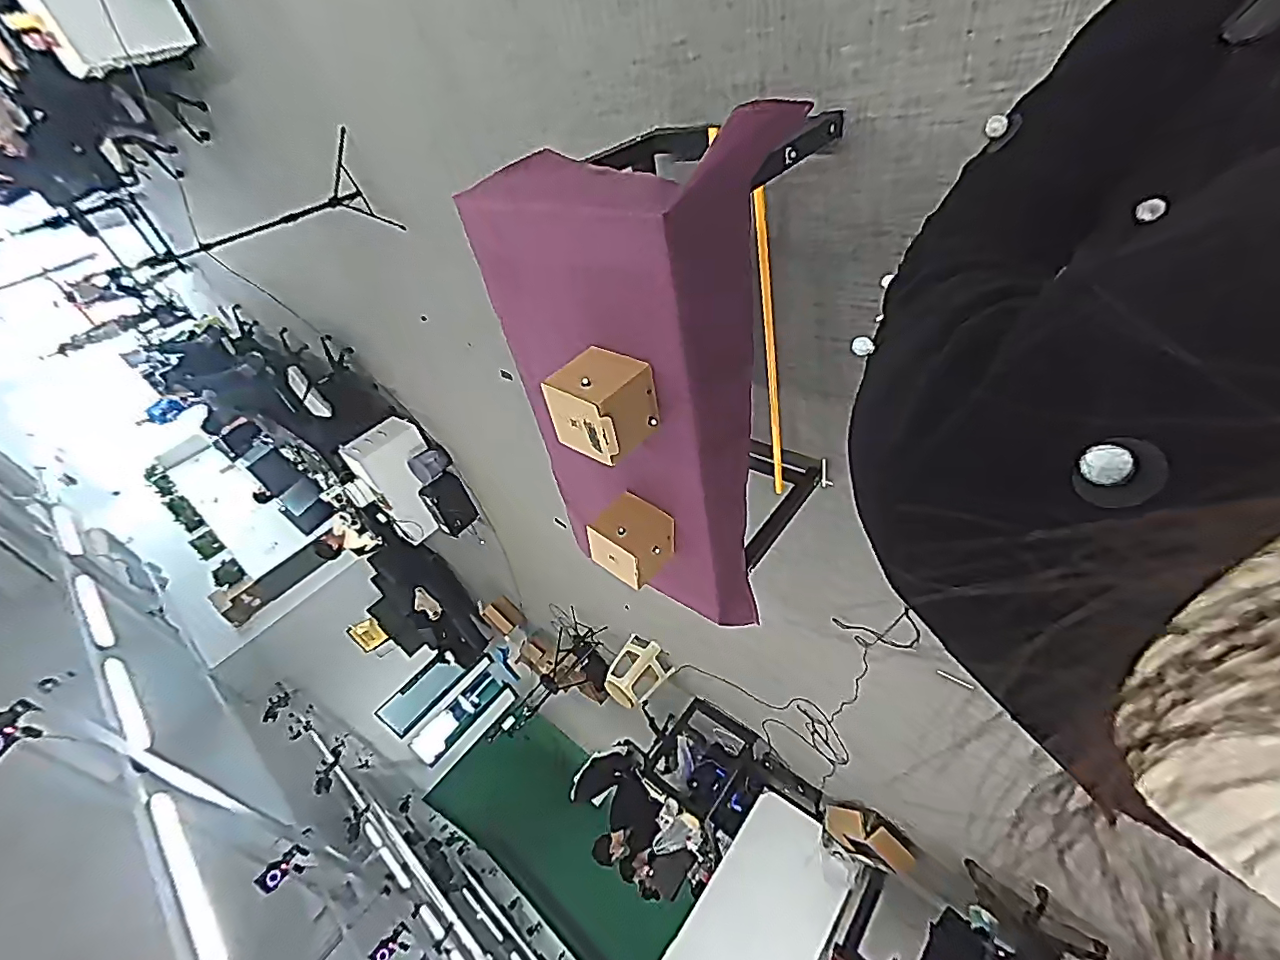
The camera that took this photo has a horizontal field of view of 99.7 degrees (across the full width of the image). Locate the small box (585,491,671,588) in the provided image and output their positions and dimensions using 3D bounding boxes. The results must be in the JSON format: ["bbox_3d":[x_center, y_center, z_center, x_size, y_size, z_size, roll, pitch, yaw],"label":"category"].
[{"bbox_3d":[-0.027,0.160,1.510,0.179,0.176,0.168,30,145,26],"label":"small box"}]

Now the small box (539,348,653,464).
[{"bbox_3d":[-0.086,-0.170,1.188,0.179,0.176,0.168,26,144,33],"label":"small box"}]
